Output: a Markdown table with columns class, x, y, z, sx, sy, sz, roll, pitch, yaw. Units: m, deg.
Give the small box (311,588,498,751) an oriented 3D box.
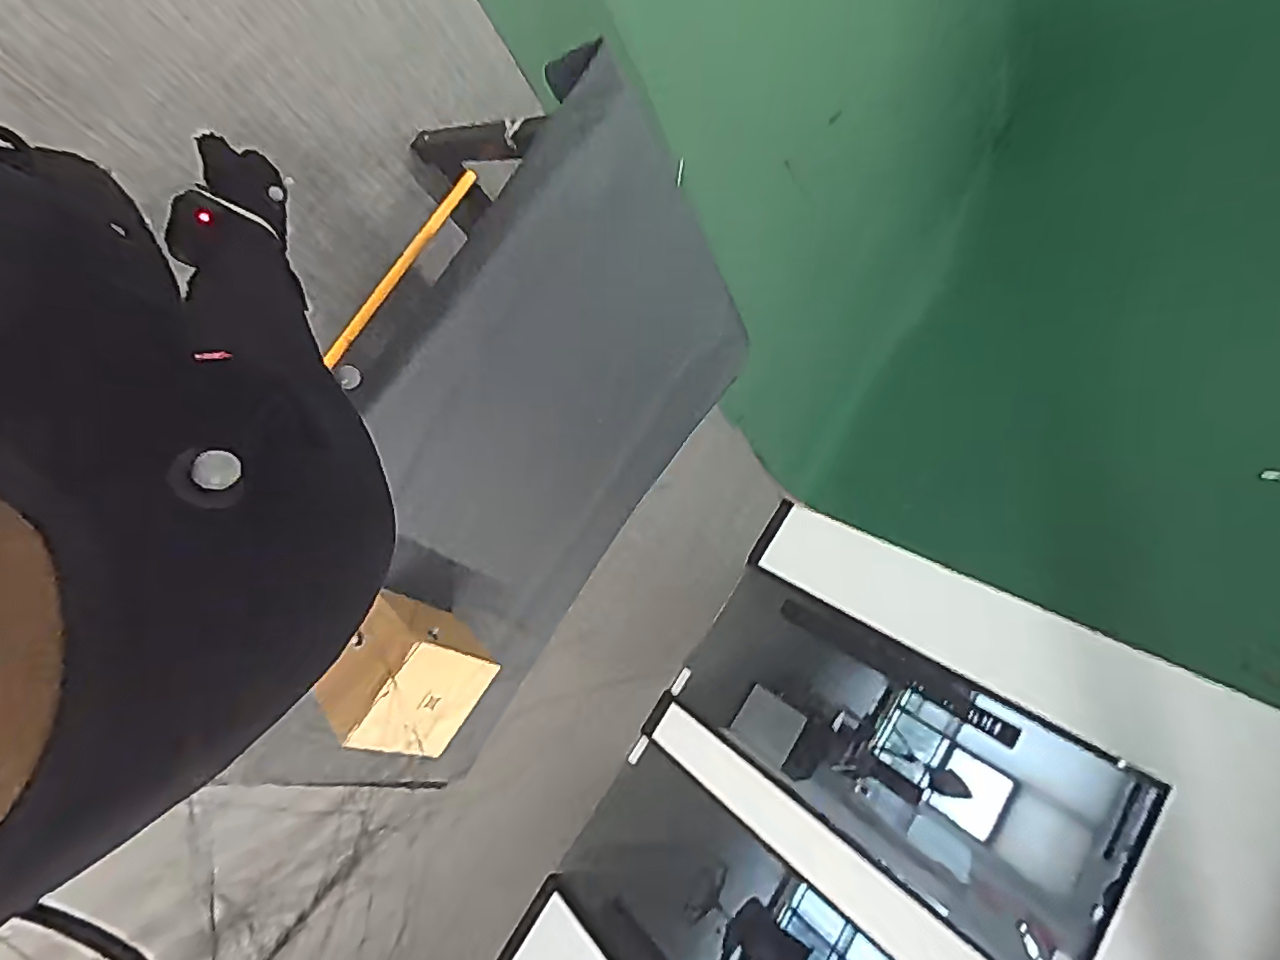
| class | x | y | z | sx | sy | sz | roll | pitch | yaw |
| --- | --- | --- | --- | --- | --- | --- | --- | --- | --- |
| small box | -0.368 | 0.294 | 0.850 | 0.168 | 0.176 | 0.179 | -56 | 141 | -9 |
